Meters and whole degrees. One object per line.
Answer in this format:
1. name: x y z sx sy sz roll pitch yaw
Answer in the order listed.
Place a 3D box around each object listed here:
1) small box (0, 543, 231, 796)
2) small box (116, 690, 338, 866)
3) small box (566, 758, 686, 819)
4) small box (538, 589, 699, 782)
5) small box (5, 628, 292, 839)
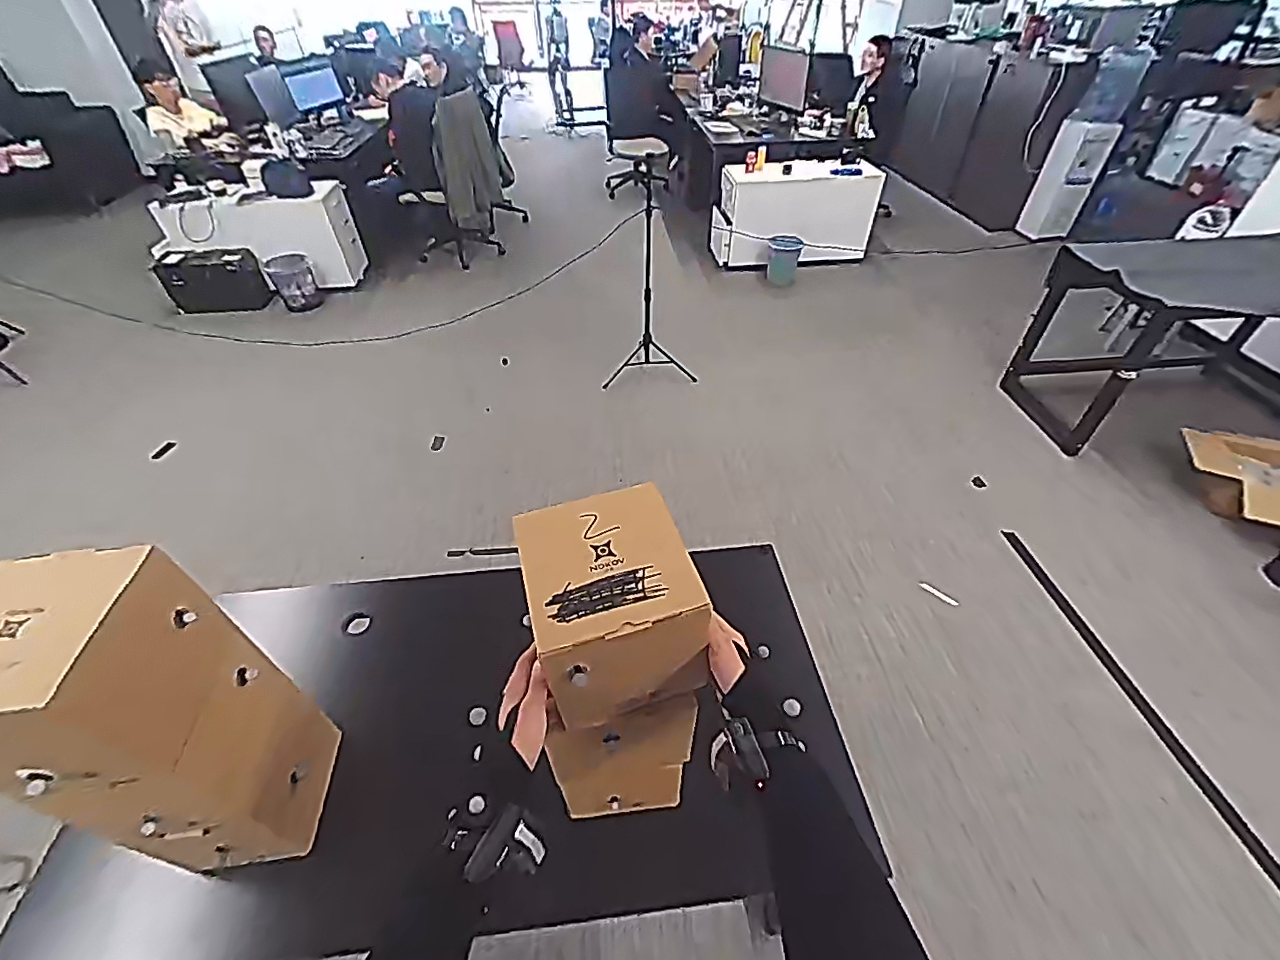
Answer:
1. small box: -0.564 0.189 0.547 0.168 0.176 0.179 -6 44 -4
2. small box: -0.562 0.428 0.772 0.168 0.176 0.179 -6 44 -5
3. small box: -0.029 0.380 0.814 0.168 0.176 0.179 -5 44 -4
4. small box: -0.030 0.266 0.696 0.179 0.176 0.168 -7 44 -7
5. small box: -0.563 0.307 0.659 0.168 0.176 0.179 -6 44 -4
